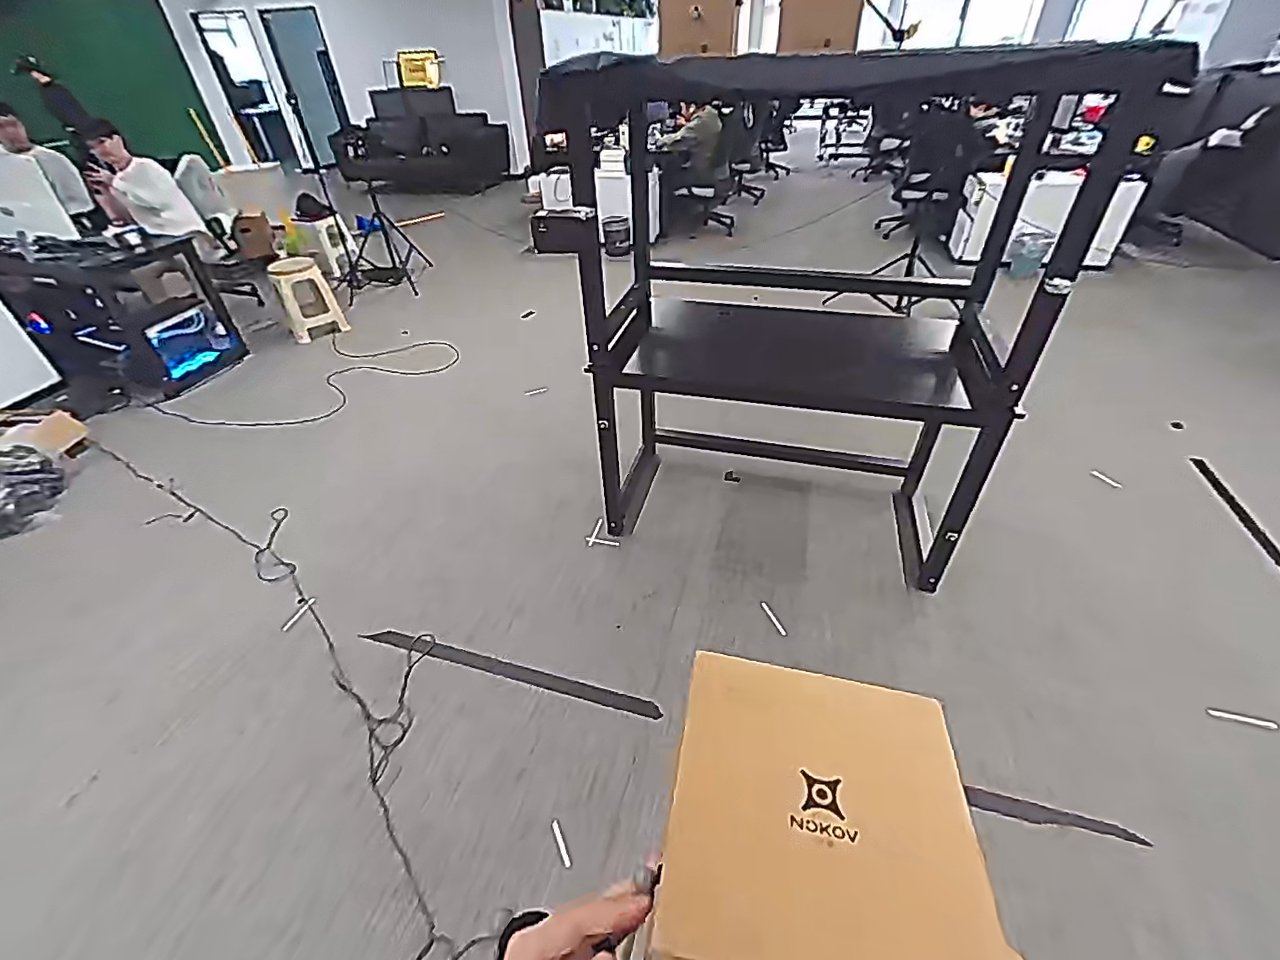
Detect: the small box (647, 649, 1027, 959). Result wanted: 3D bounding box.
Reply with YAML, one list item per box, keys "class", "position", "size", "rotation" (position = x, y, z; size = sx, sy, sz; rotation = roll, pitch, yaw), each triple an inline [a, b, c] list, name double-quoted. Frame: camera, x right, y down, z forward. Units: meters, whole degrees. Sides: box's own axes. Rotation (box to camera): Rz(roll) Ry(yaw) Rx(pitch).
- class: "small box"
  position: [0.099, 0.242, 0.339]
  size: [0.168, 0.176, 0.179]
  rotation: [8, 34, 8]

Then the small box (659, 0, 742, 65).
- class: "small box"
  position: [0.137, -1.028, 1.194]
  size: [0.168, 0.176, 0.179]
  rotation: [6, 39, 10]
